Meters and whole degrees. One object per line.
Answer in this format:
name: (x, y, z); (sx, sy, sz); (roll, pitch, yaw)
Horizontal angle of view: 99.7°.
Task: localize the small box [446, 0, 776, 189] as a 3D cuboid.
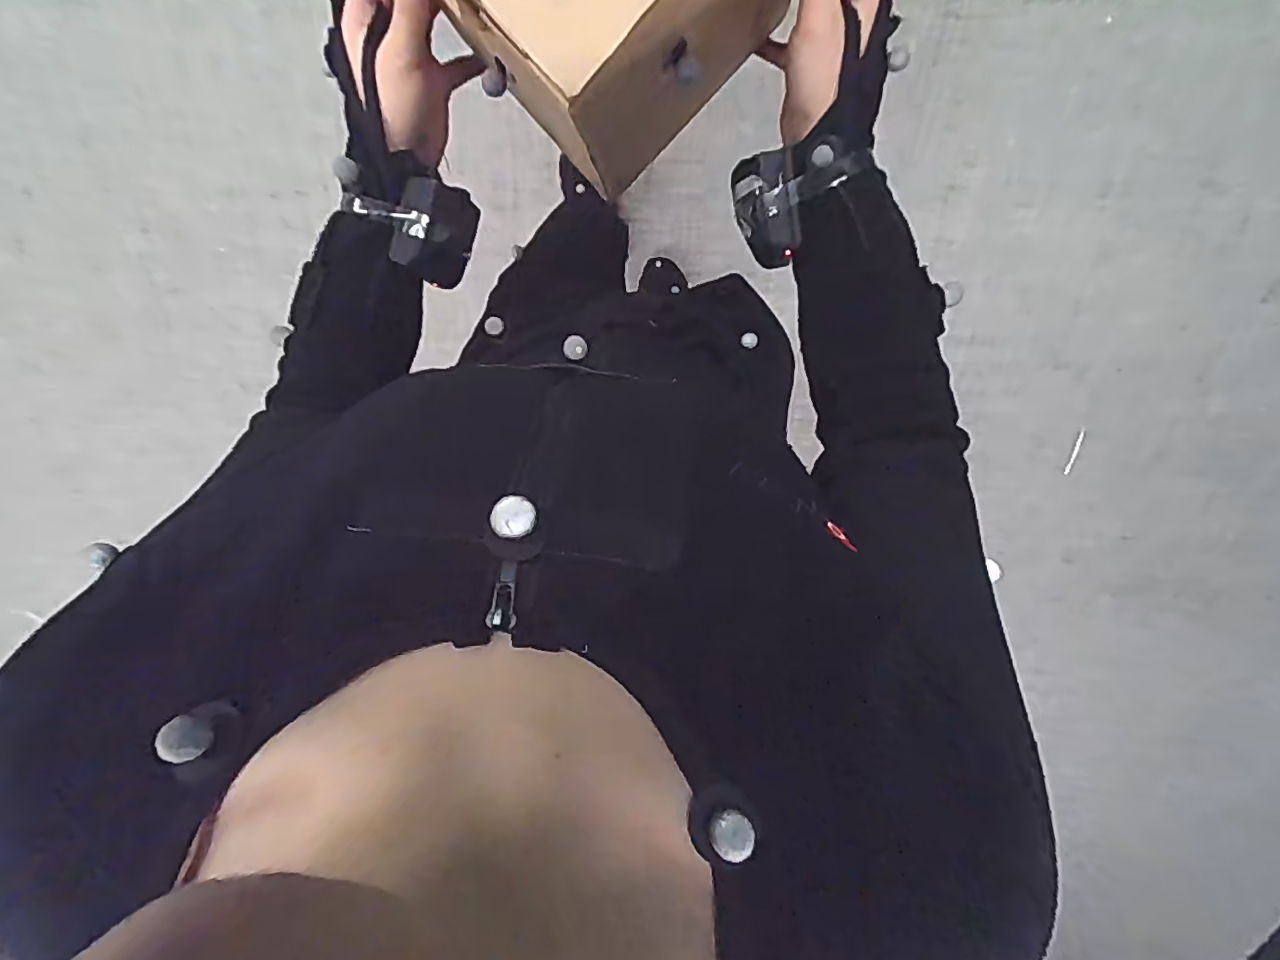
small box: (-0.020, -0.313, 0.317); (0.179, 0.176, 0.168); (-42, 96, 12)
